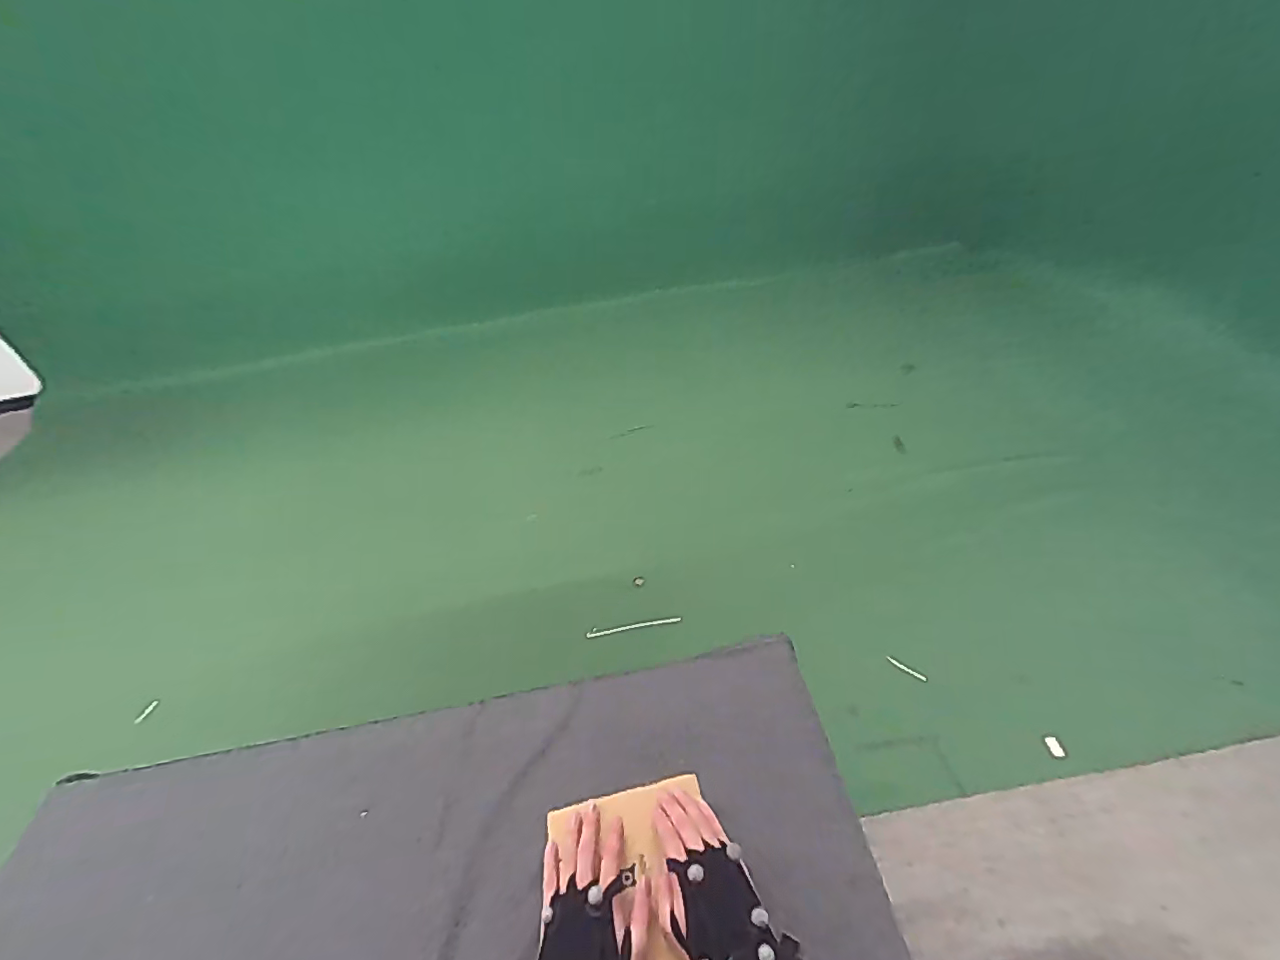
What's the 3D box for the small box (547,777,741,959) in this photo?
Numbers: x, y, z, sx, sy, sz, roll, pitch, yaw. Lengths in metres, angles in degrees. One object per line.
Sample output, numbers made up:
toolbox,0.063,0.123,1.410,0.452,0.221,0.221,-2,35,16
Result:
small box,0.004,0.476,0.623,0.179,0.176,0.168,-15,44,-6
